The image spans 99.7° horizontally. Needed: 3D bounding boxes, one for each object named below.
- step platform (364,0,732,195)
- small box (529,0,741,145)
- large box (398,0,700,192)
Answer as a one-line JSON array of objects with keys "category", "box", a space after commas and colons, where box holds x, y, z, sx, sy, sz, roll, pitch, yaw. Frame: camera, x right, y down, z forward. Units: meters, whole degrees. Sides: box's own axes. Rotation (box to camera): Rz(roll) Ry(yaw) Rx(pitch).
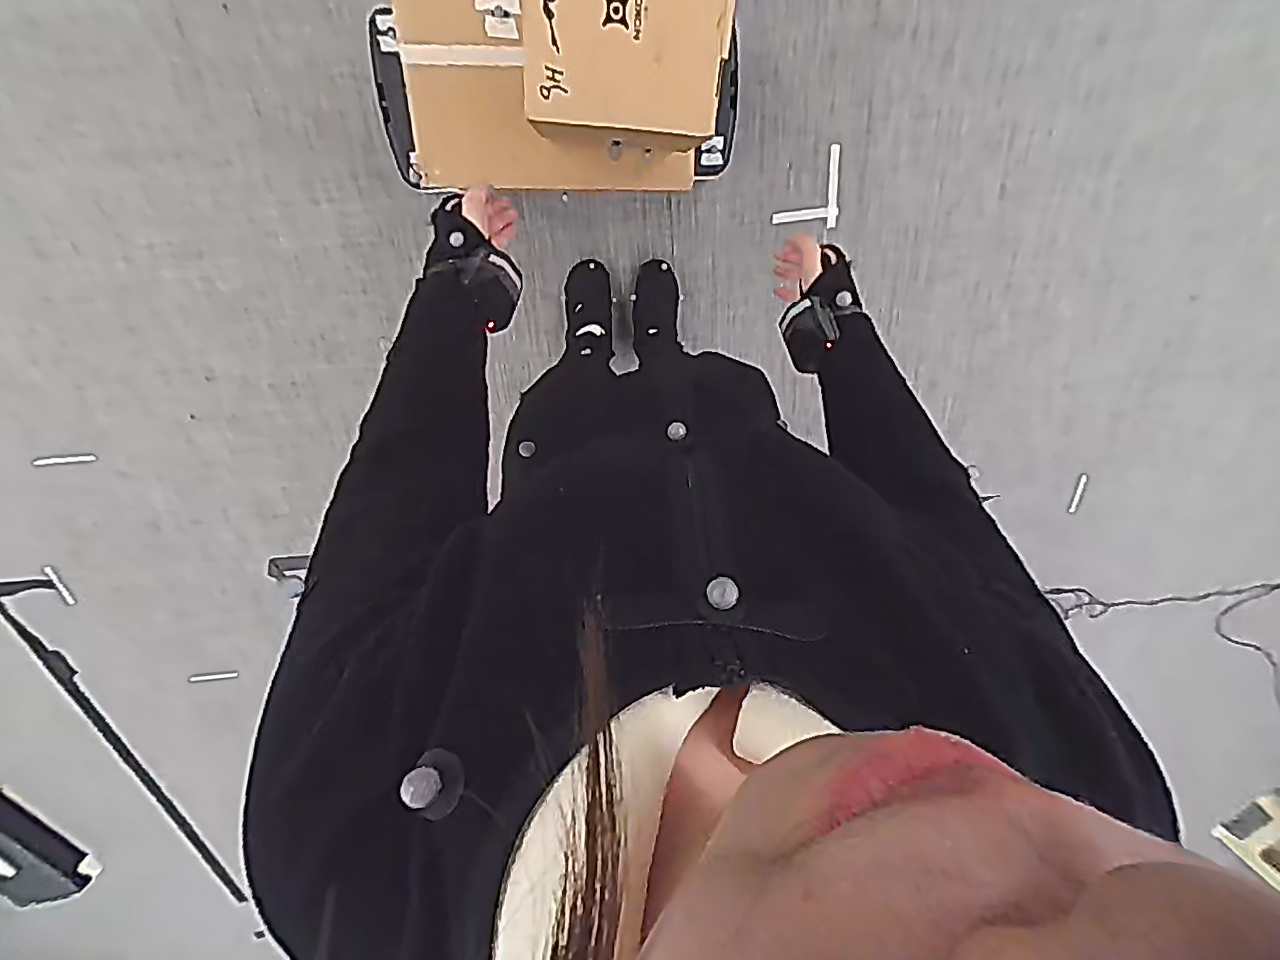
[{"category": "step platform", "box": [-0.163, -0.740, 1.070, 0.684, 0.204, 0.286, 1, 117, -4]}, {"category": "small box", "box": [-0.011, -0.427, 0.514, 0.179, 0.176, 0.168, 2, 116, -7]}, {"category": "large box", "box": [-0.119, -0.635, 0.859, 0.408, 0.320, 0.320, -1, 117, -3]}]
